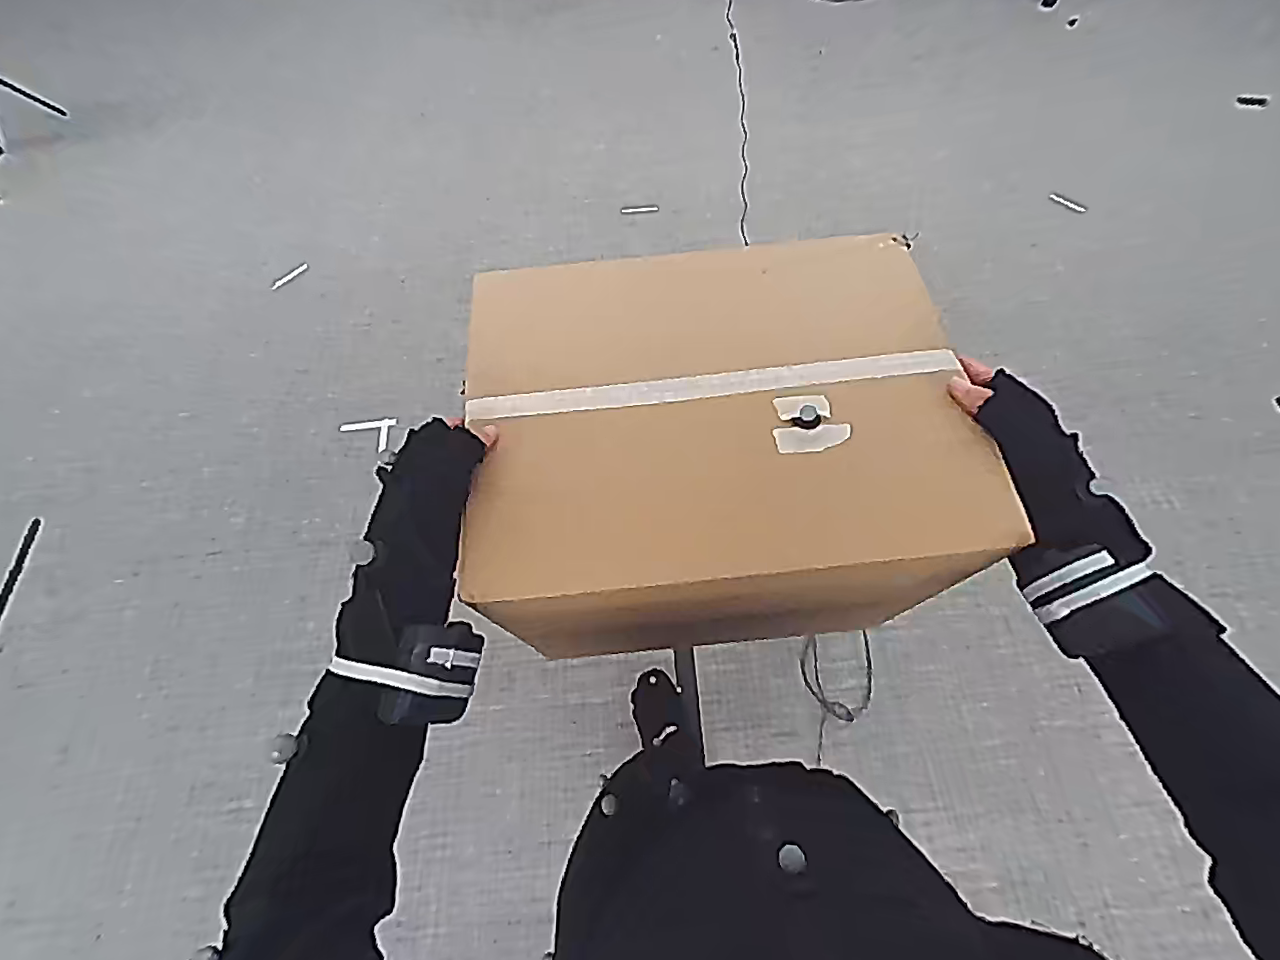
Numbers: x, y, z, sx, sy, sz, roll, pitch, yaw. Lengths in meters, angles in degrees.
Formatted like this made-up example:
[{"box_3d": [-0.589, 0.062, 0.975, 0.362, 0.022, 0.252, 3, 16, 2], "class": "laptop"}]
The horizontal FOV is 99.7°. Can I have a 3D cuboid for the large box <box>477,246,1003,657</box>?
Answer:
[{"box_3d": [0.064, -0.006, 0.596, 0.408, 0.320, 0.320, -6, 64, 0], "class": "large box"}]
